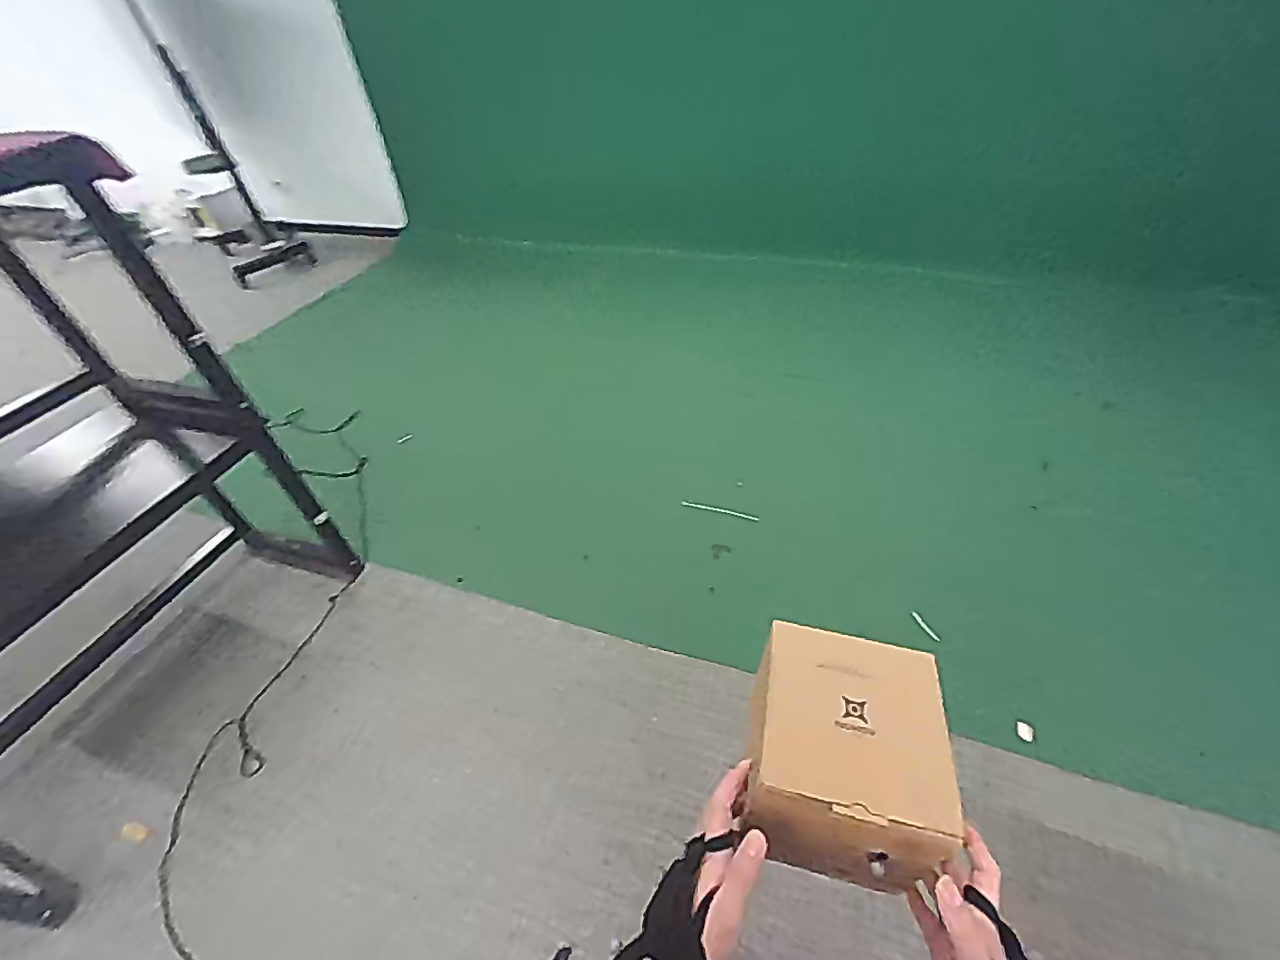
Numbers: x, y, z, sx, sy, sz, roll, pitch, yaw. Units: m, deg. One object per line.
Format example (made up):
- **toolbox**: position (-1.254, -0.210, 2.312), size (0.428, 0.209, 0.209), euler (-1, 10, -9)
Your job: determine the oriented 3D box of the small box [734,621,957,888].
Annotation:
- **small box**: position (0.195, 0.281, 0.557), size (0.168, 0.176, 0.179), euler (11, 41, 10)
